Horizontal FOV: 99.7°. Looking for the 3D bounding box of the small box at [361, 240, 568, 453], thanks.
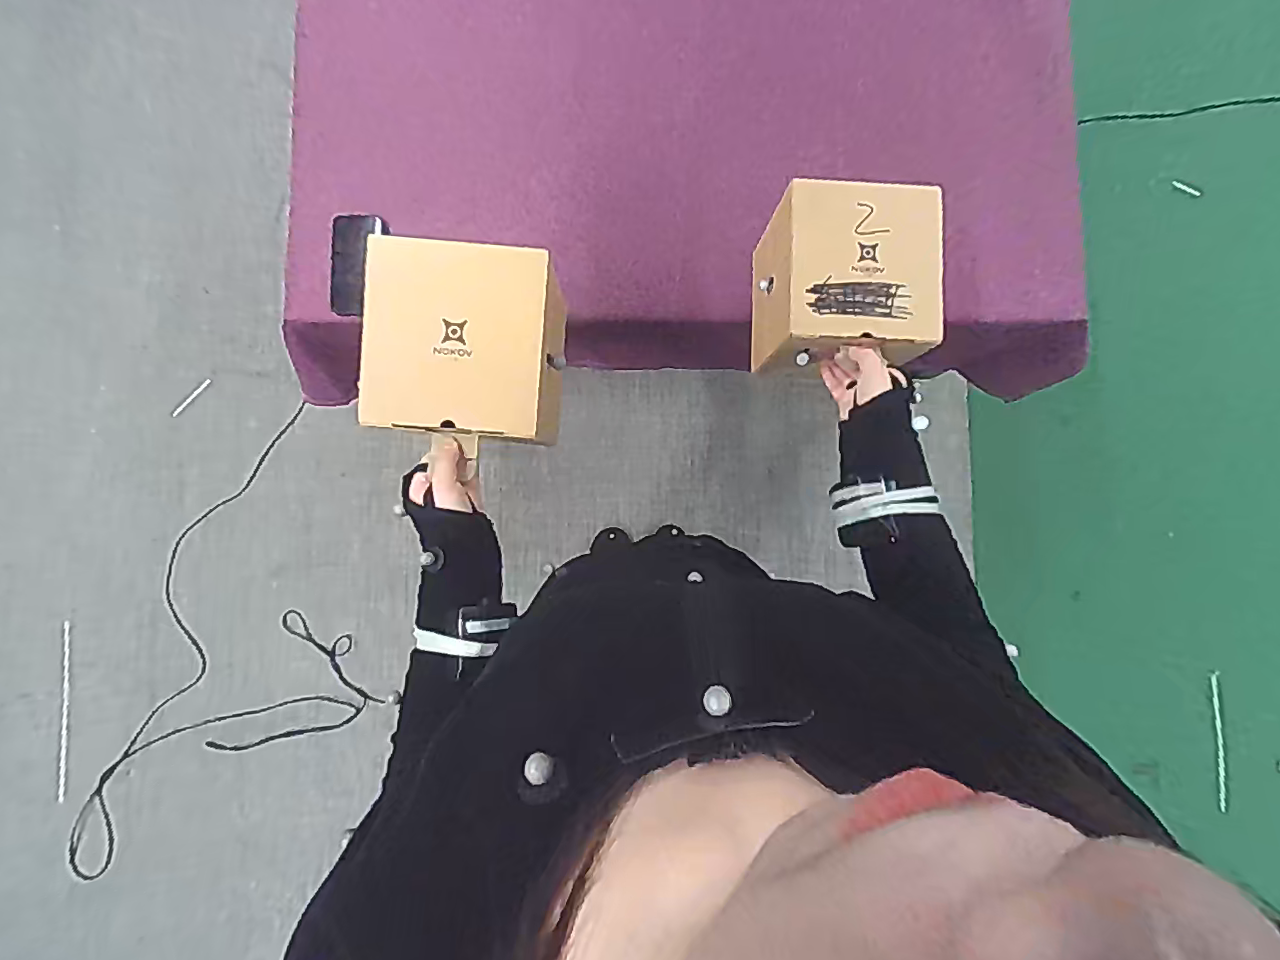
[{"bbox_3d":[-0.171,-0.126,0.579,0.168,0.176,0.179,6,91,-3],"label":"small box"}]
